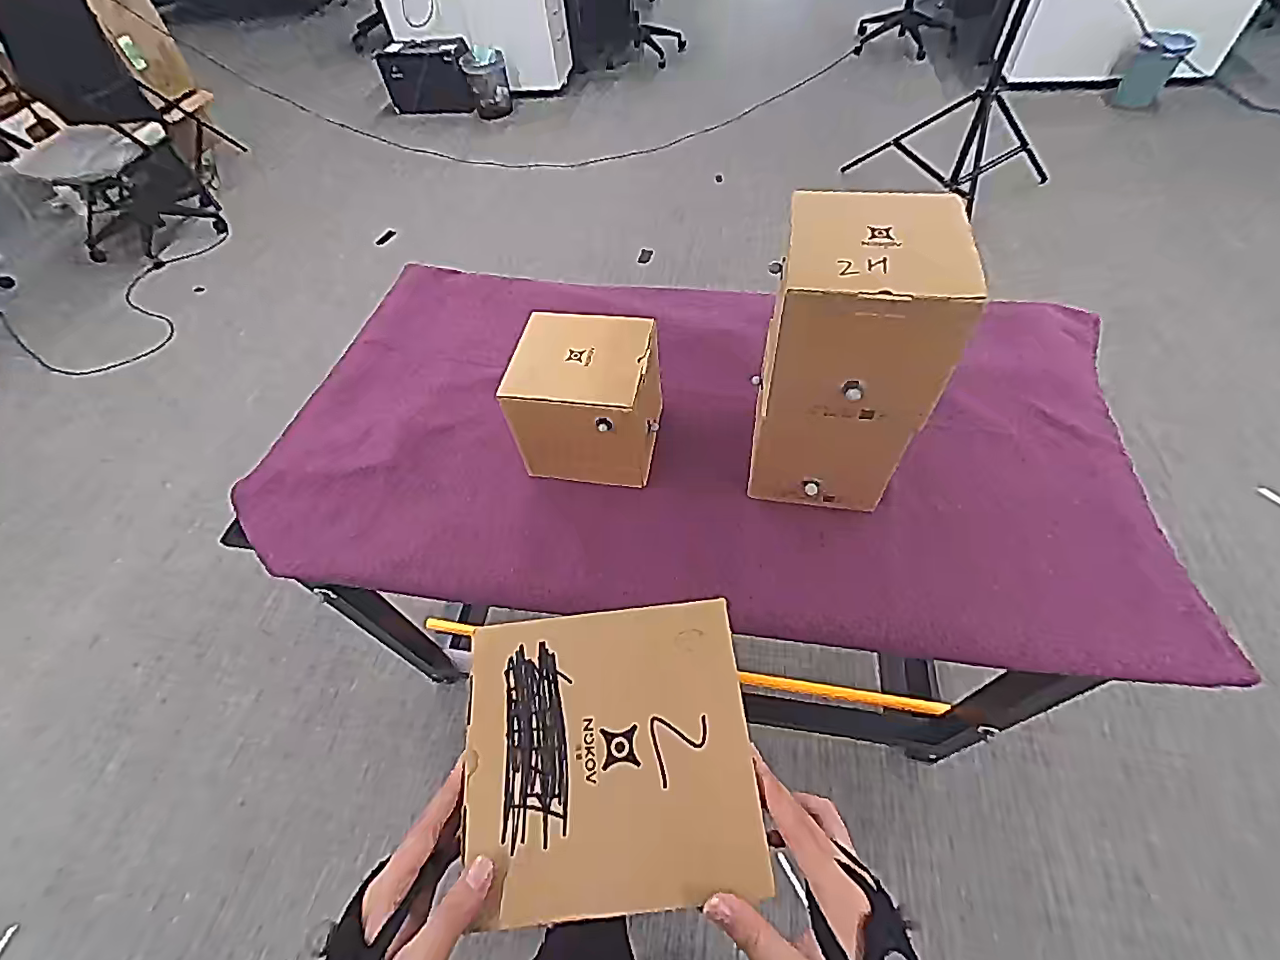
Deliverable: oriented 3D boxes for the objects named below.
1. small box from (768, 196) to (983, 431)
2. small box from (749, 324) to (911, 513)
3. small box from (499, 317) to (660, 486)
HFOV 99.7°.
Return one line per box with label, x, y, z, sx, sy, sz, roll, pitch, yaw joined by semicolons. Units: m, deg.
small box;0.232;-0.177;0.580;0.168;0.176;0.179;6;55;10
small box;0.239;-0.081;0.714;0.168;0.176;0.179;7;55;10
small box;-0.071;-0.108;0.762;0.179;0.176;0.168;6;54;8
